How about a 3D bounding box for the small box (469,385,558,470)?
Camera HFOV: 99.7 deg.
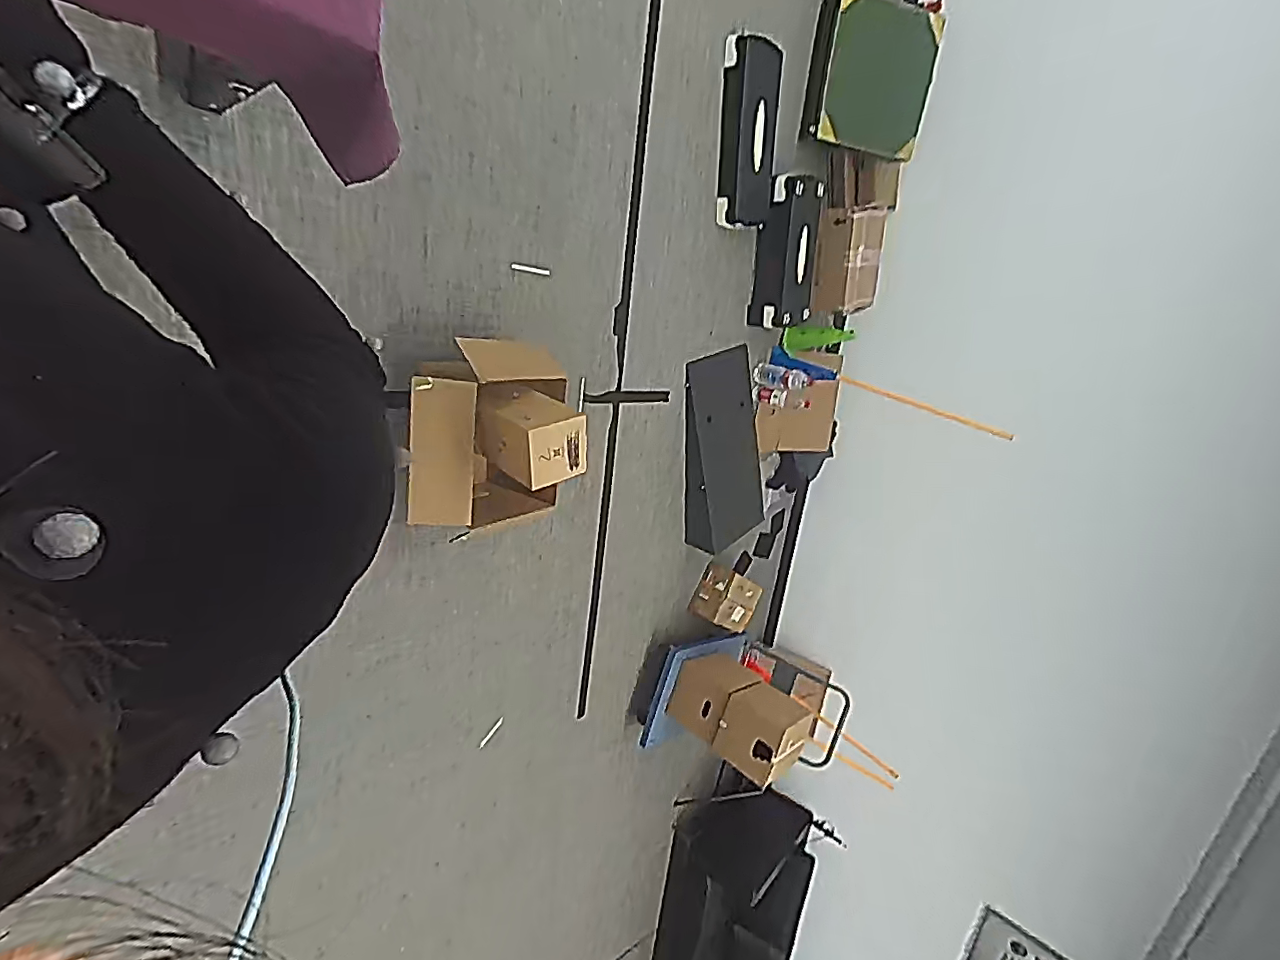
[{"bbox_3d":[-0.360,-0.158,1.534,0.168,0.176,0.179,-32,132,-32],"label":"small box"}]
